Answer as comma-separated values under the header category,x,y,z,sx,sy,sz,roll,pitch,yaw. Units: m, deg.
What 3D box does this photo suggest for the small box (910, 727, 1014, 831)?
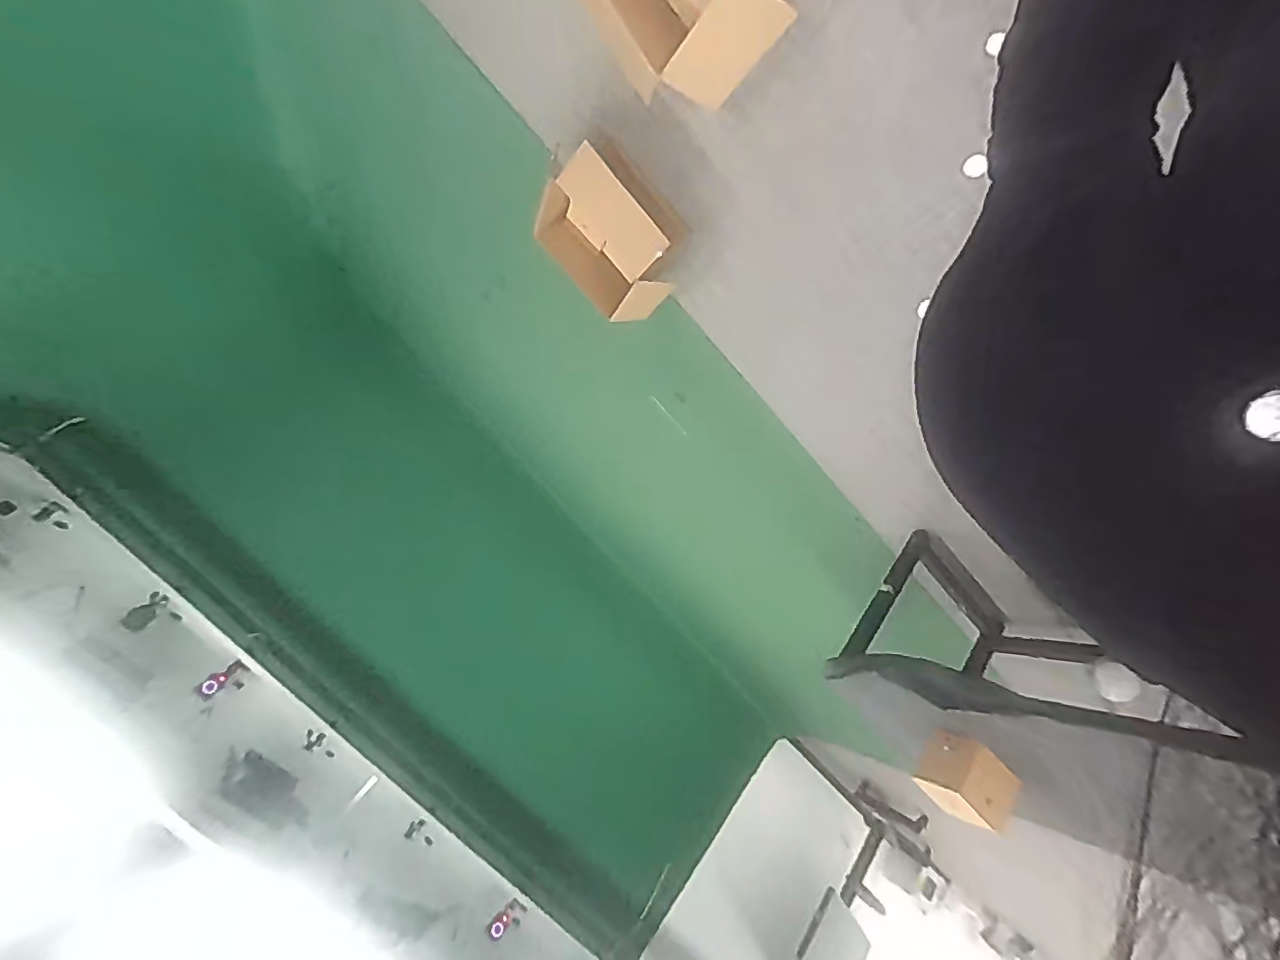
category,x,y,z,sx,sy,sz,roll,pitch,yaw
small box,0.934,0.854,1.562,0.179,0.176,0.168,46,156,-7
